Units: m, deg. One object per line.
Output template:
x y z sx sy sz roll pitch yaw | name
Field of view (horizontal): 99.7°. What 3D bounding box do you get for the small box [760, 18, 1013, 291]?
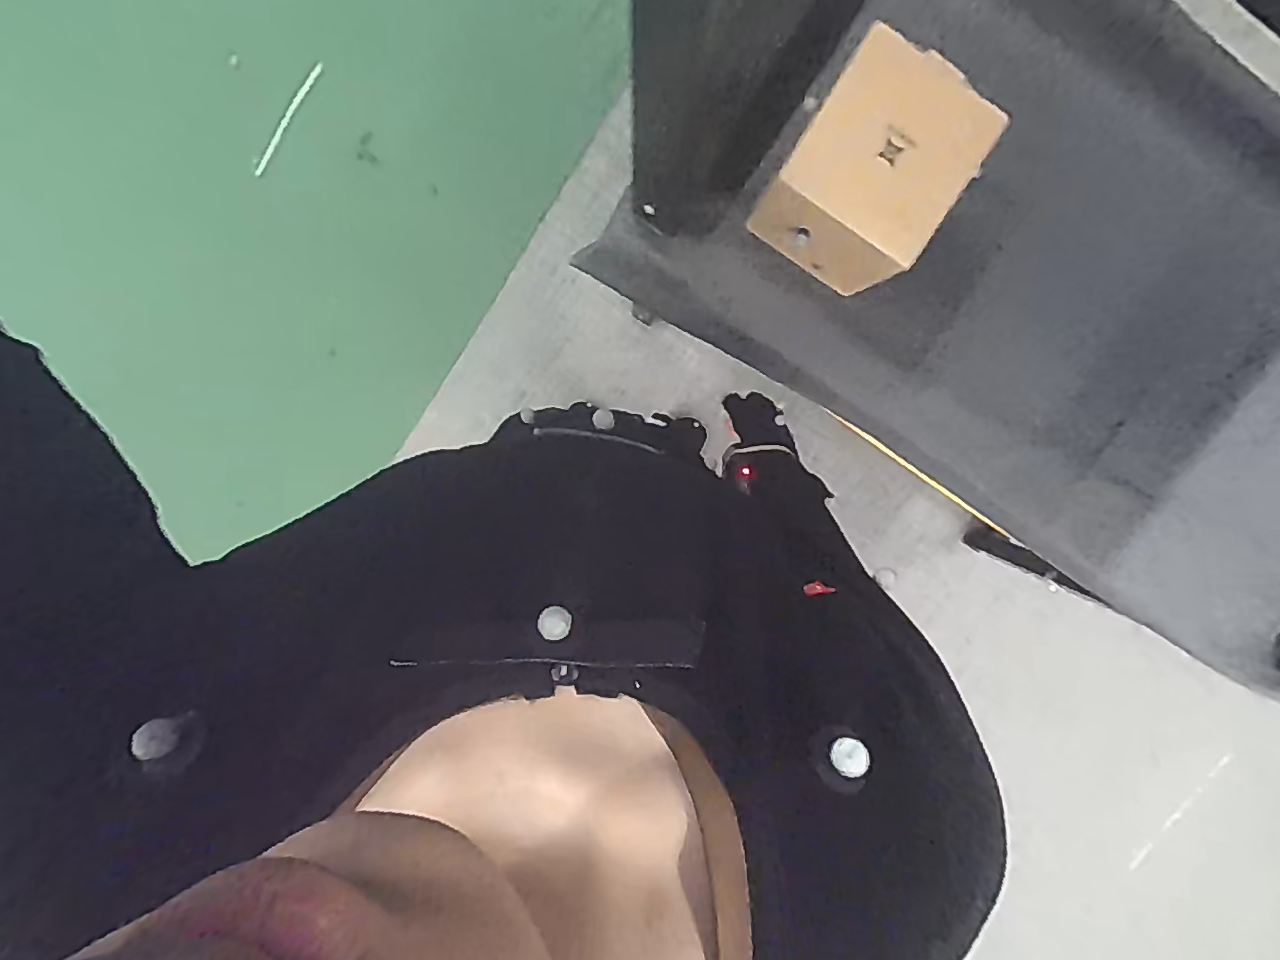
0.256 -0.342 0.615 0.168 0.176 0.179 32 96 -5 | small box
